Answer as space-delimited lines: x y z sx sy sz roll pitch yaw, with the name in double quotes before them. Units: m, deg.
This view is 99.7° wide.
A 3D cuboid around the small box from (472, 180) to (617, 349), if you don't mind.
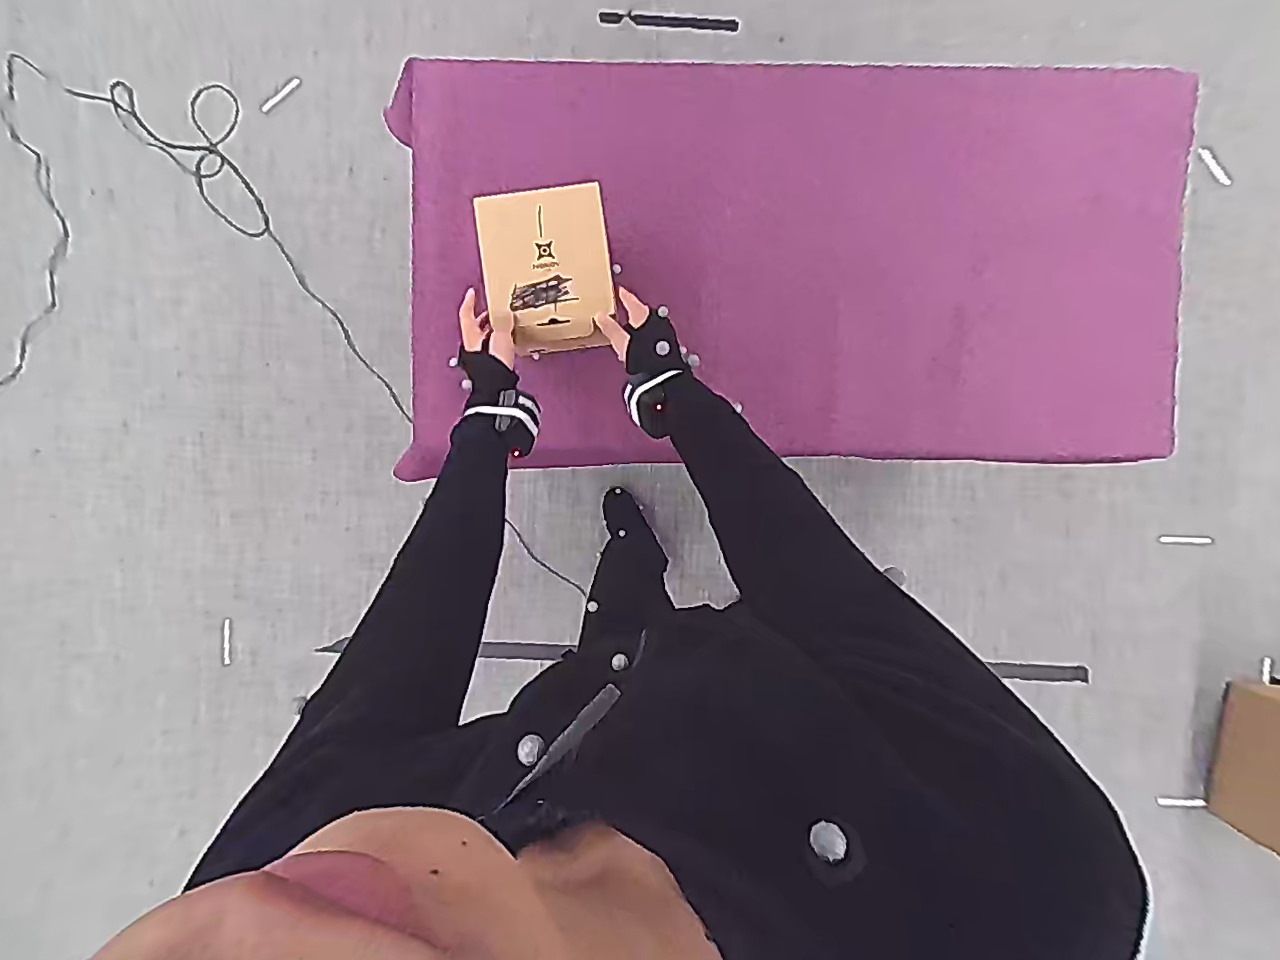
"small box" -0.125 -0.293 0.777 0.168 0.176 0.179 -7 91 0
